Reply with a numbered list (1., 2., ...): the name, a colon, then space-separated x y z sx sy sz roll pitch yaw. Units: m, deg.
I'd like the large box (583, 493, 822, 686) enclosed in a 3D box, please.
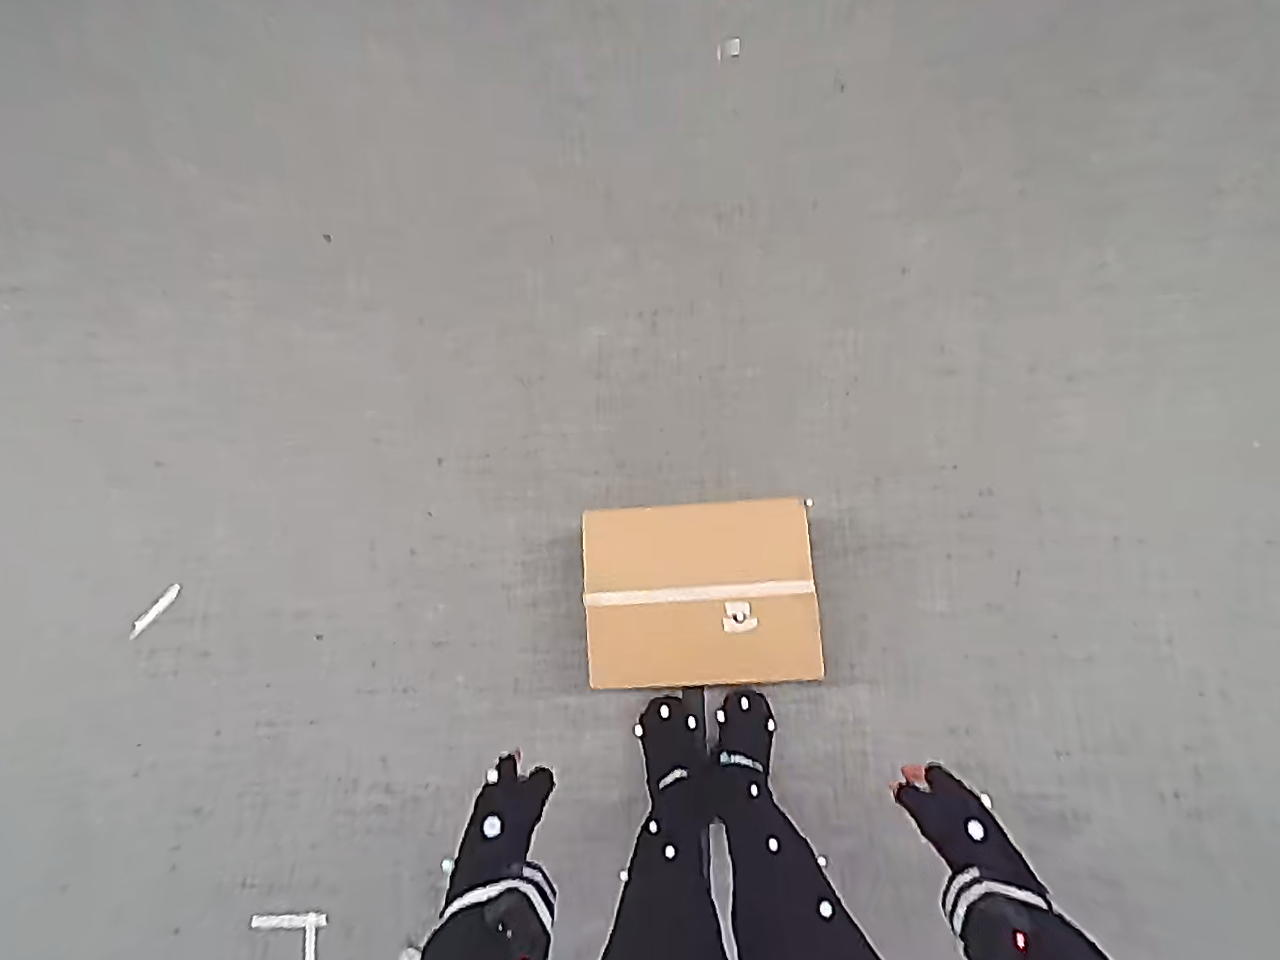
1. large box: 0.111 0.214 1.100 0.408 0.320 0.320 -4 82 2
